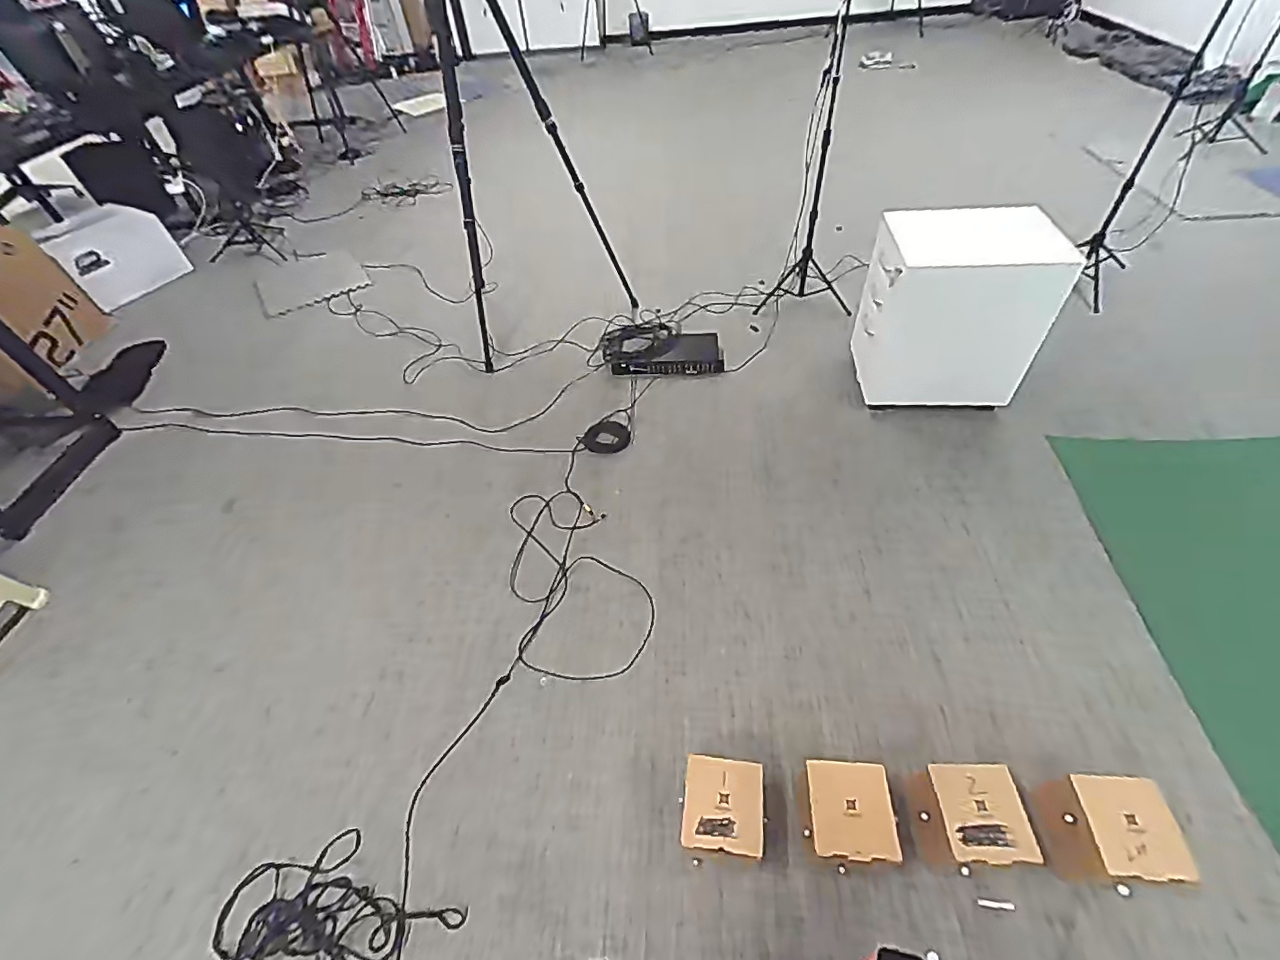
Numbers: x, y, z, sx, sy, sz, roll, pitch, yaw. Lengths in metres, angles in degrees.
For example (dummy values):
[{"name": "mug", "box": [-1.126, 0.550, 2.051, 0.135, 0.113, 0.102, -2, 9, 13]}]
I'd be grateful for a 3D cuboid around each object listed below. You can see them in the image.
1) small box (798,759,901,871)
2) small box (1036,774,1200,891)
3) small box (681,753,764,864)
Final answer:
[{"name": "small box", "box": [0.447, 0.733, 1.183, 0.168, 0.176, 0.179, 0, 49, 7]}, {"name": "small box", "box": [0.974, 0.735, 1.127, 0.168, 0.176, 0.179, 0, 49, 7]}, {"name": "small box", "box": [0.186, 0.736, 1.207, 0.168, 0.176, 0.179, 4, 49, 9]}]
